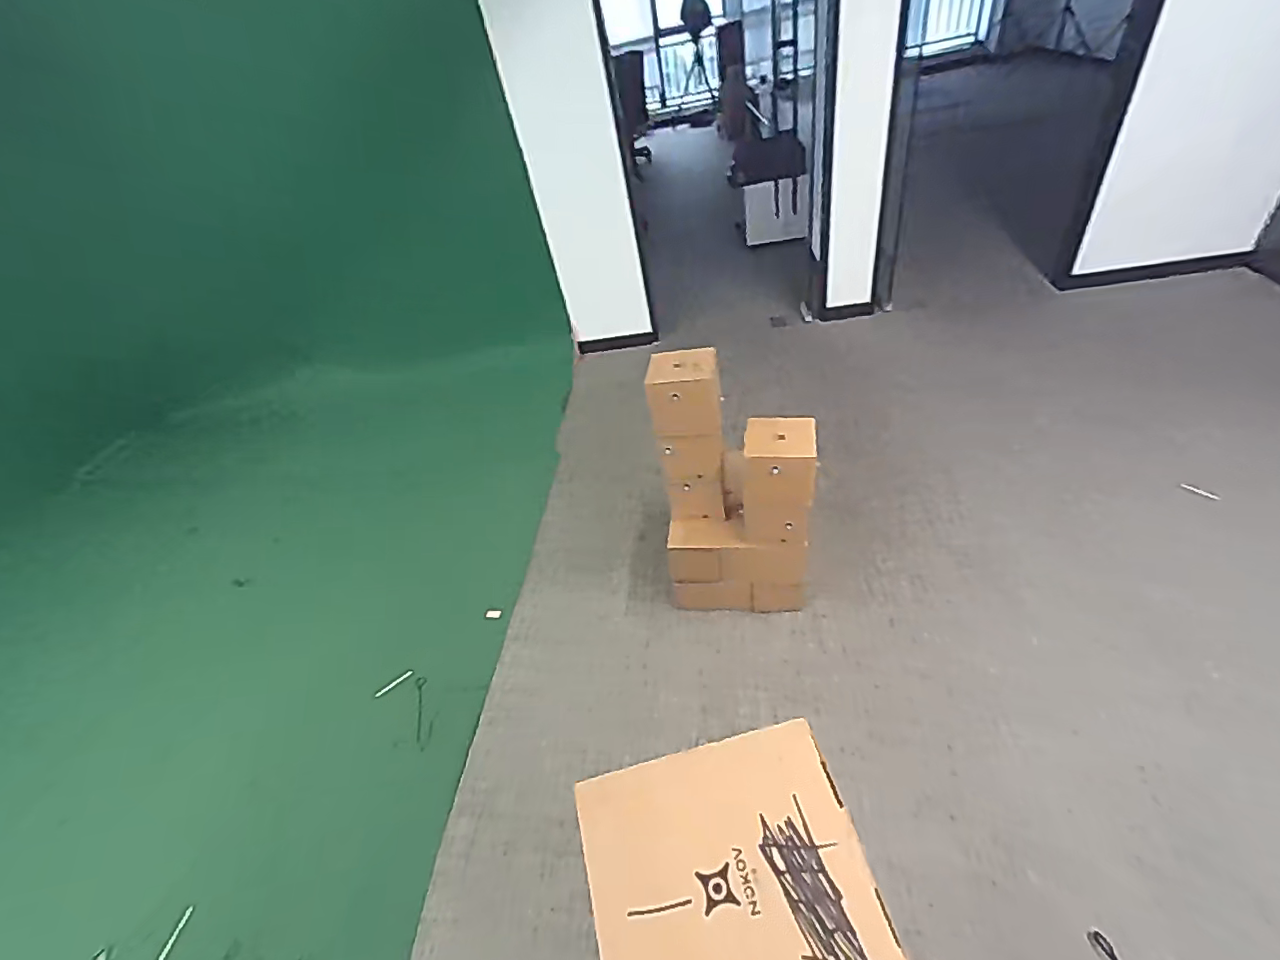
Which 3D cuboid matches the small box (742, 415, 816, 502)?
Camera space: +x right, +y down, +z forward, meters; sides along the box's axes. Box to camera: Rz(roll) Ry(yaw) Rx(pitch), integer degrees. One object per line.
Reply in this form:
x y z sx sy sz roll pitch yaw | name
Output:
0.364 -0.055 1.420 0.179 0.176 0.168 1 42 15 | small box

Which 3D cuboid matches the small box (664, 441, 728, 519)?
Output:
0.179 0.000 1.662 0.168 0.176 0.179 -1 40 16 | small box

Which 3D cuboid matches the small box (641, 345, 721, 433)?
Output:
0.115 -0.238 1.442 0.179 0.176 0.168 -2 41 14 | small box

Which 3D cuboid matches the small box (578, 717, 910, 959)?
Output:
0.063 0.300 0.400 0.179 0.176 0.168 -13 51 -5 | small box

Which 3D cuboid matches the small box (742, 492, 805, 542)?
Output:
0.383 0.061 1.533 0.168 0.176 0.179 1 41 14 | small box
